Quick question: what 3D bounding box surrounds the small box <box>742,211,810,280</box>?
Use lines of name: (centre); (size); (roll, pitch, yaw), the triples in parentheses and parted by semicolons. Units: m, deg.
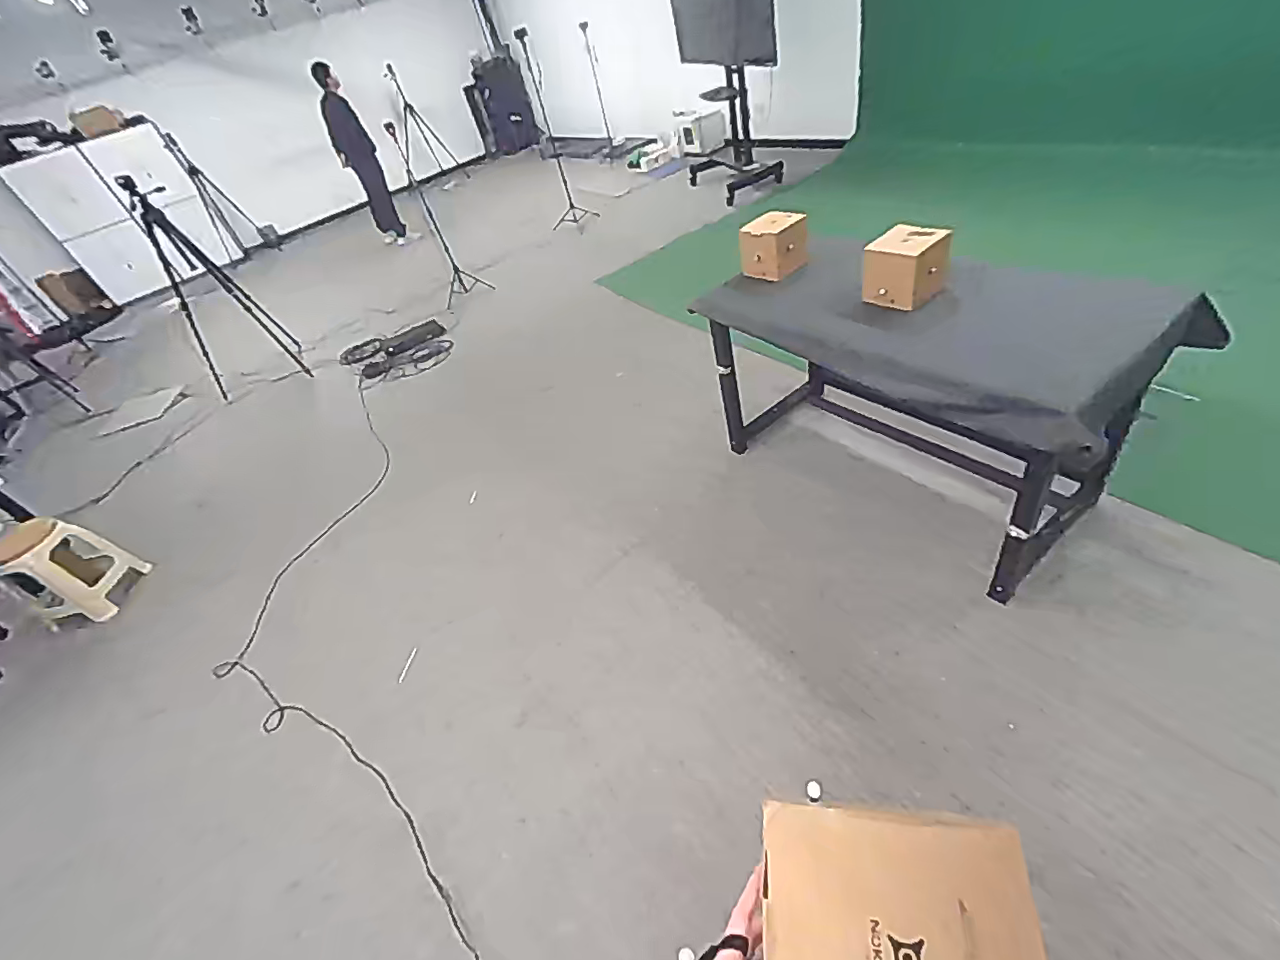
small box: (0.494, -0.839, 1.937); (0.179, 0.176, 0.168); (-38, 45, -20)

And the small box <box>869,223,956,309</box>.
small box: (0.793, -0.631, 1.595); (0.179, 0.176, 0.168); (-37, 44, -18)
